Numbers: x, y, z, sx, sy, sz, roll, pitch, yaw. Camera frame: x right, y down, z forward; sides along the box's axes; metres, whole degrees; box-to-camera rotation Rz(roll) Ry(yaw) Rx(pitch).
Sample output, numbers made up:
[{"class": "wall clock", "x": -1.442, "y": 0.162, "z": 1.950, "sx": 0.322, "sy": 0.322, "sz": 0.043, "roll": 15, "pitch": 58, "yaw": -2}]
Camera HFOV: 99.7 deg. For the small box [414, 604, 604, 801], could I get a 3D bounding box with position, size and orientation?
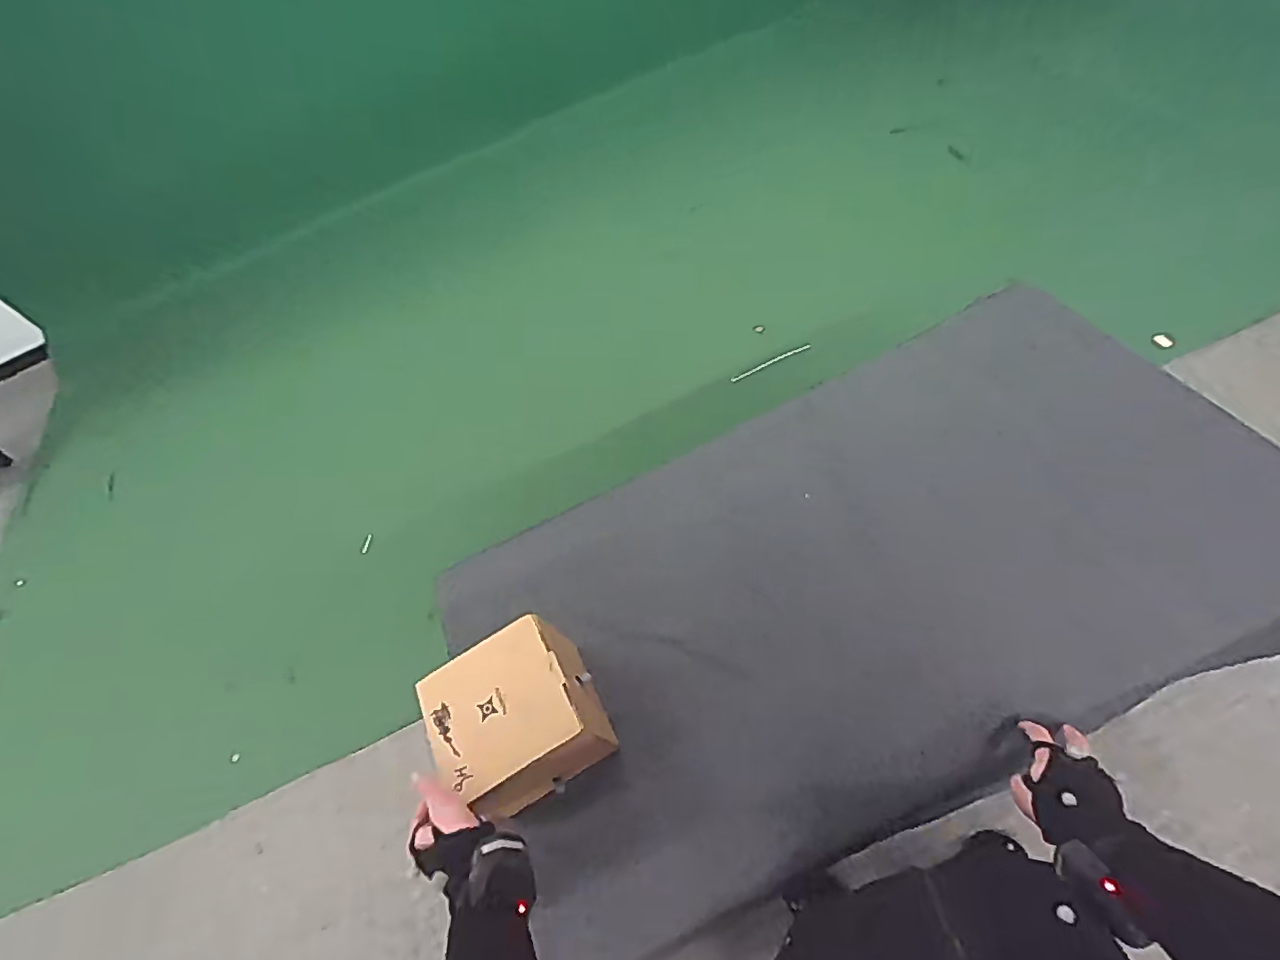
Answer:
[{"class": "small box", "x": -0.161, "y": 0.298, "z": 0.718, "sx": 0.179, "sy": 0.176, "sz": 0.168, "roll": -30, "pitch": 56, "yaw": -5}]
